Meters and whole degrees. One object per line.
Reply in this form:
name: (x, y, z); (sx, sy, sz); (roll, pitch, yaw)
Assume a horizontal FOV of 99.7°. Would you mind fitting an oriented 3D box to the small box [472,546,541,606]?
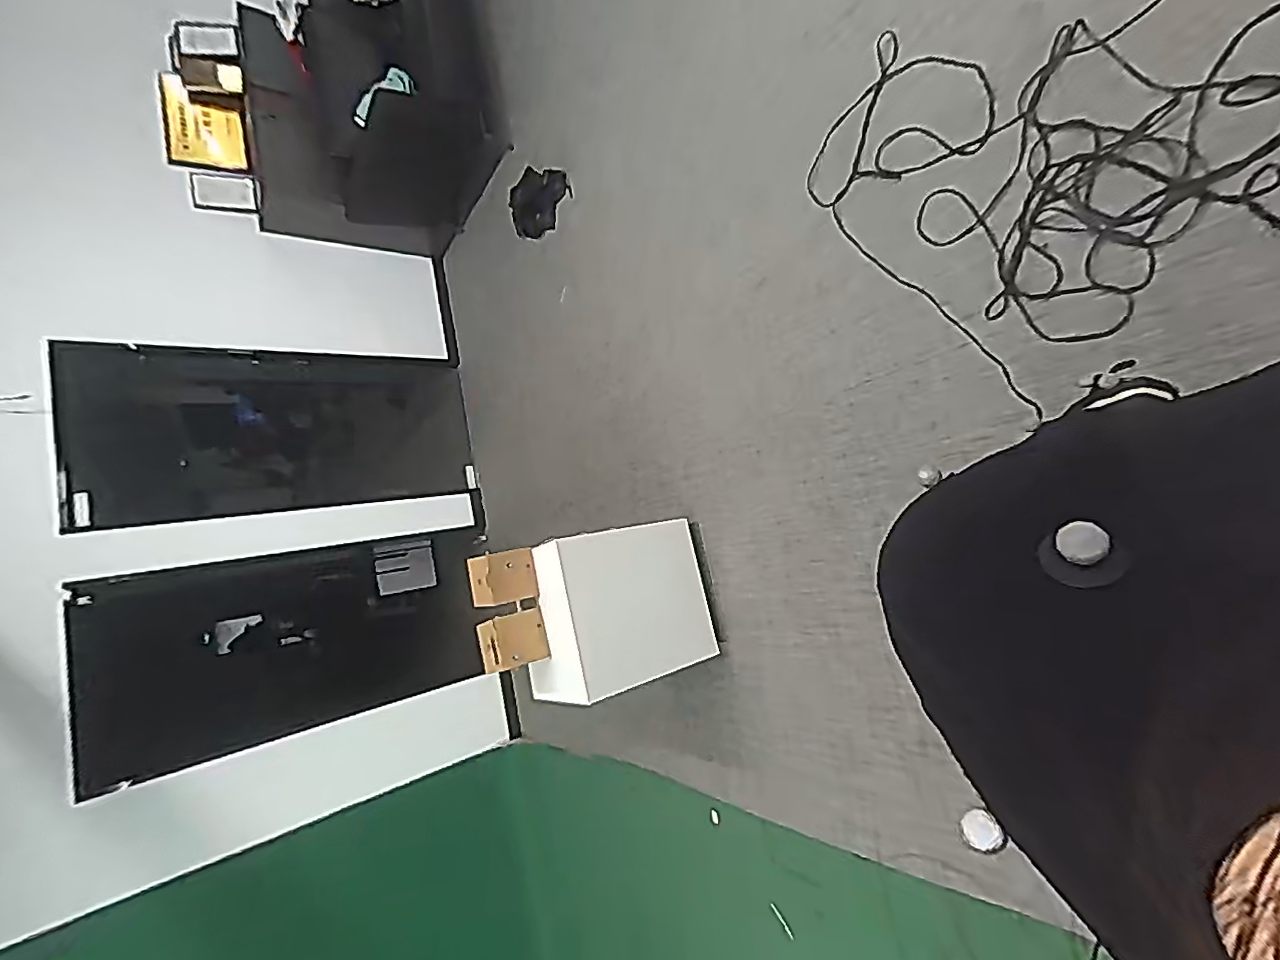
small box: (-0.446, 0.324, 1.829); (0.179, 0.176, 0.168); (-20, 79, 53)
